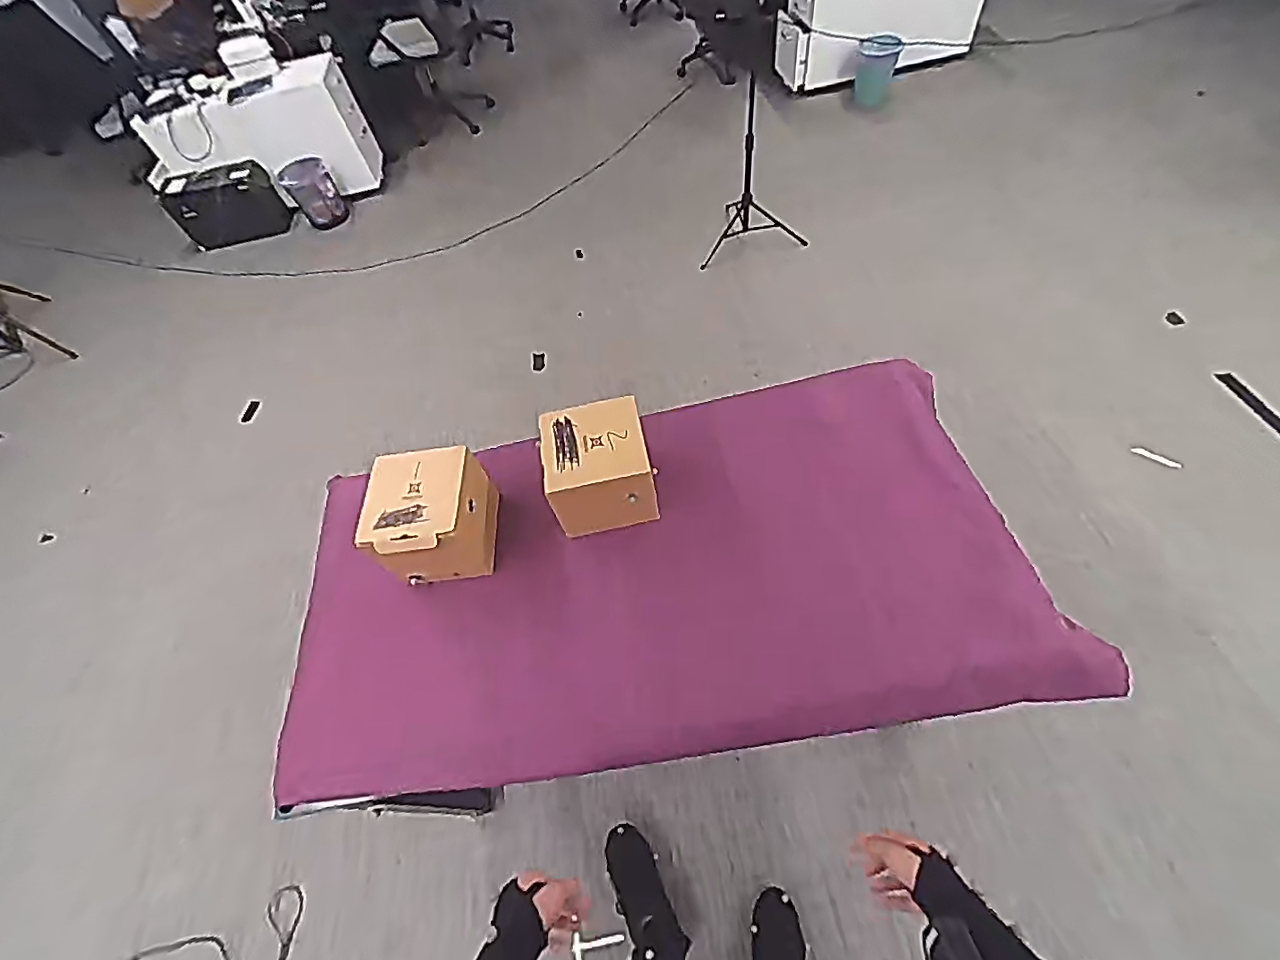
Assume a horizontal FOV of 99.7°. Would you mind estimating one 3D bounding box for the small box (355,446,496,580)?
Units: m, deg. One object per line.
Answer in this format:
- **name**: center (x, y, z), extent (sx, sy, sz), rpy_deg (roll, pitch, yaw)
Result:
- **small box**: center (-0.362, 0.066, 0.951), extent (0.168, 0.176, 0.179), rpy_deg (-8, 57, 3)
